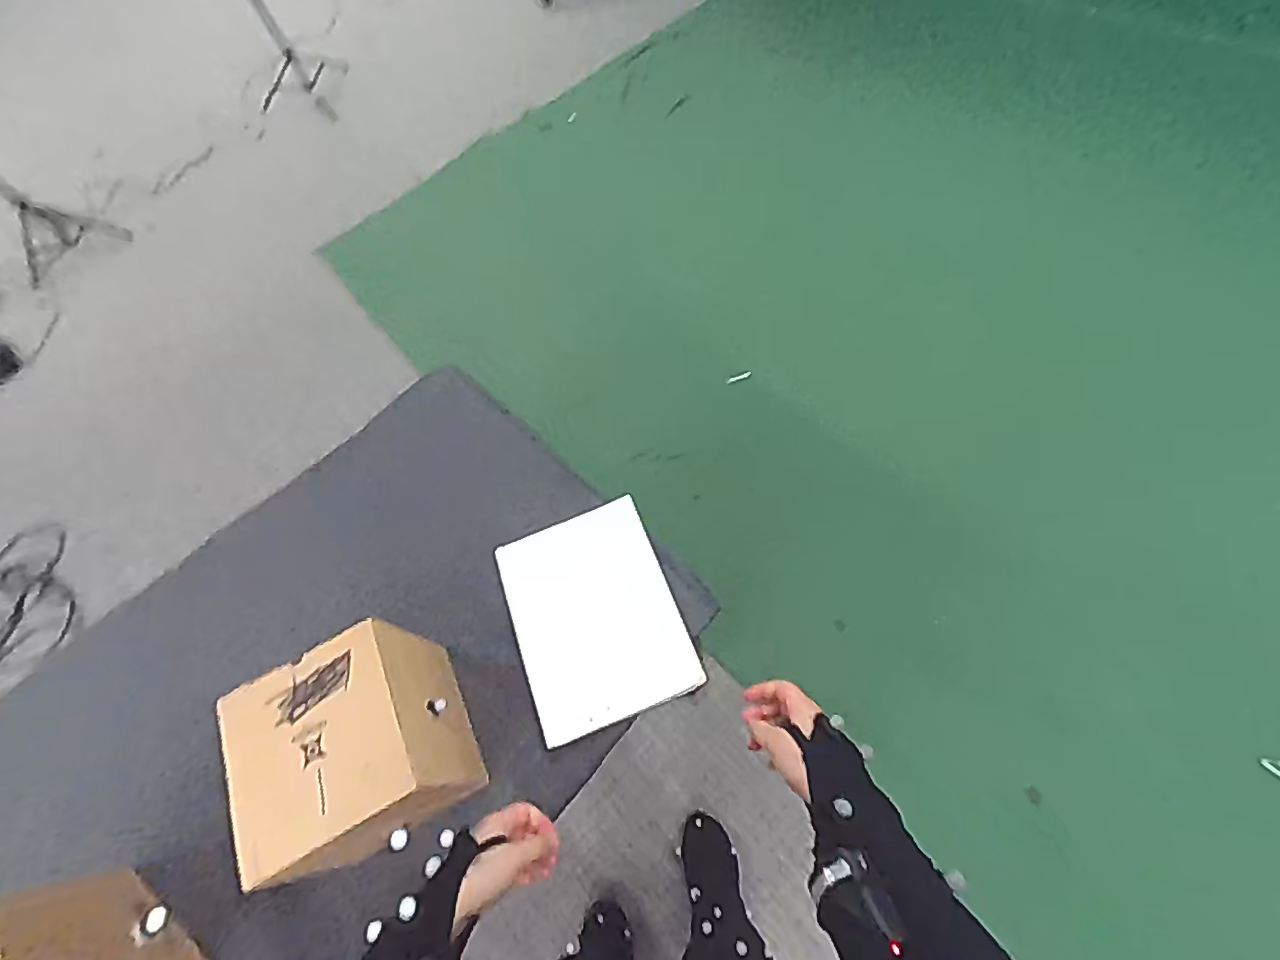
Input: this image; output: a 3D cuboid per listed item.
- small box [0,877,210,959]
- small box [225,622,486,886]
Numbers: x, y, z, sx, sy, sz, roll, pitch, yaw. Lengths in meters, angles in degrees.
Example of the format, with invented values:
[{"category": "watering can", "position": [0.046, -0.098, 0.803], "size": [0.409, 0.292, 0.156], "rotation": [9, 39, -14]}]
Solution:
[{"category": "small box", "position": [-0.572, 0.520, 0.505], "size": [0.168, 0.176, 0.179], "rotation": [24, 68, 18]}, {"category": "small box", "position": [-0.294, 0.285, 0.581], "size": [0.168, 0.176, 0.179], "rotation": [-29, 63, -6]}]
